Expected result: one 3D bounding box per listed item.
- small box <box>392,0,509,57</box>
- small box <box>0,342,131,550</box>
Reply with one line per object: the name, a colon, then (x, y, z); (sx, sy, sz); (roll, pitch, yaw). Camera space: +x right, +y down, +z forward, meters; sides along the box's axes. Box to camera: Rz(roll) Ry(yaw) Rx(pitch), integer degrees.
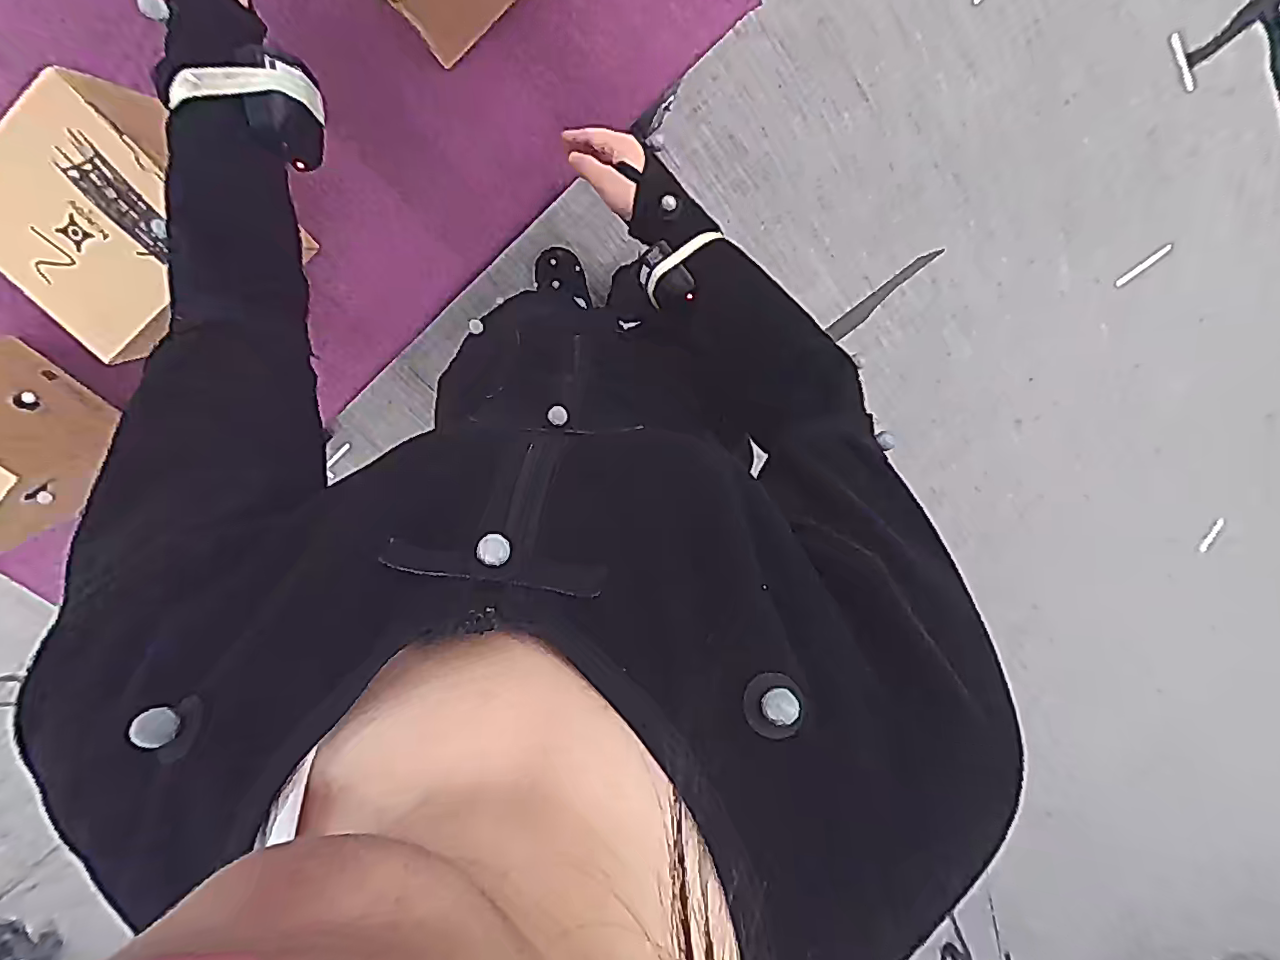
small box: (-0.180, -0.509, 0.449); (0.179, 0.176, 0.168); (-38, 111, 11)
small box: (-0.741, -0.032, 0.605); (0.179, 0.176, 0.168); (-41, 109, 12)
